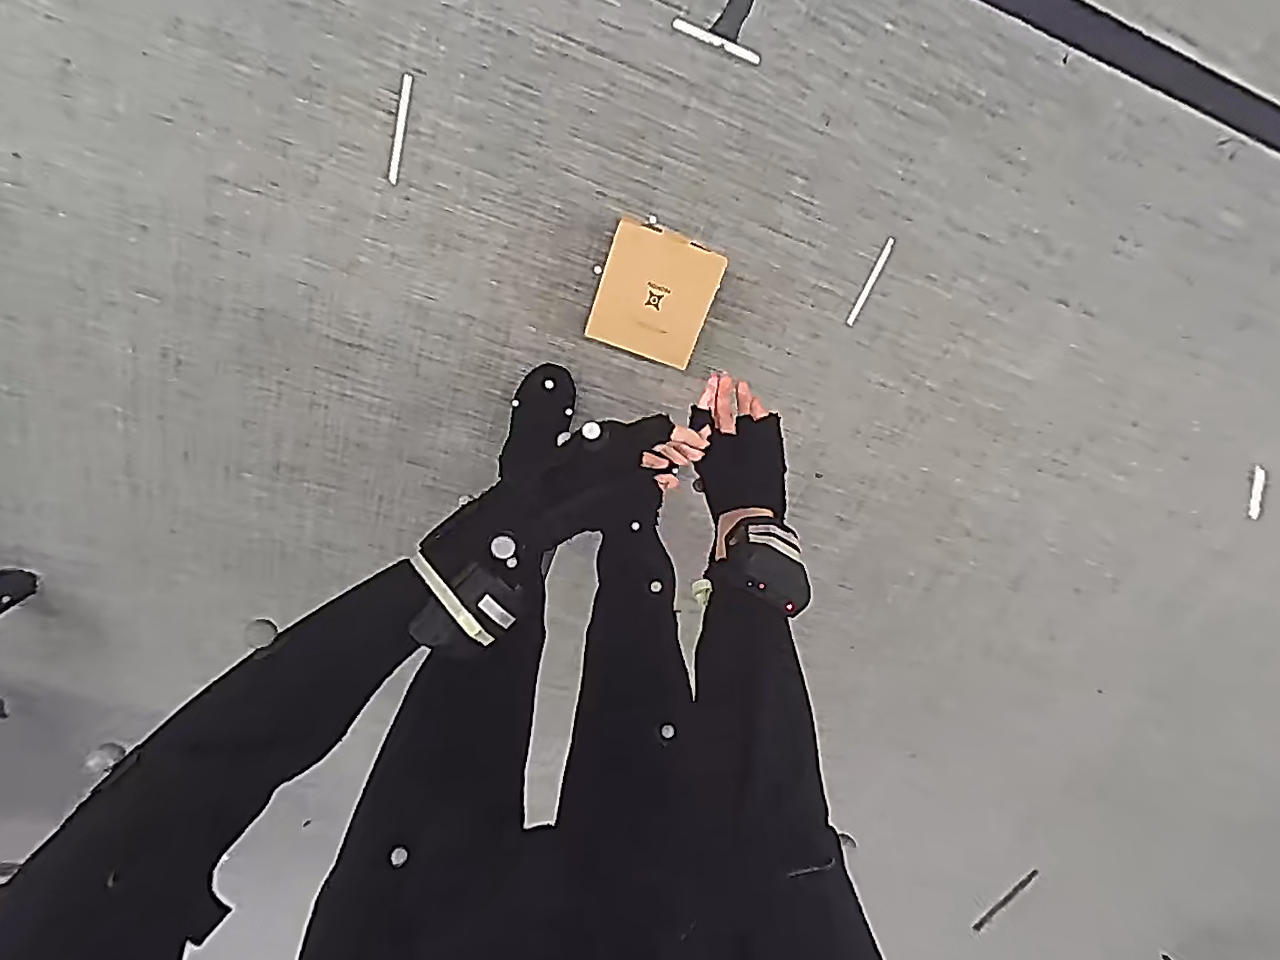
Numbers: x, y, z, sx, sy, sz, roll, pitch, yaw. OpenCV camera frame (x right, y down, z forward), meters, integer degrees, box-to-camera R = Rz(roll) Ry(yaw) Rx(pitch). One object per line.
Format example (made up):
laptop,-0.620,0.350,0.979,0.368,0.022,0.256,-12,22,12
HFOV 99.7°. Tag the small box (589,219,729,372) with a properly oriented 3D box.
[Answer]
small box,0.023,-0.299,0.869,0.168,0.176,0.179,18,114,-9
